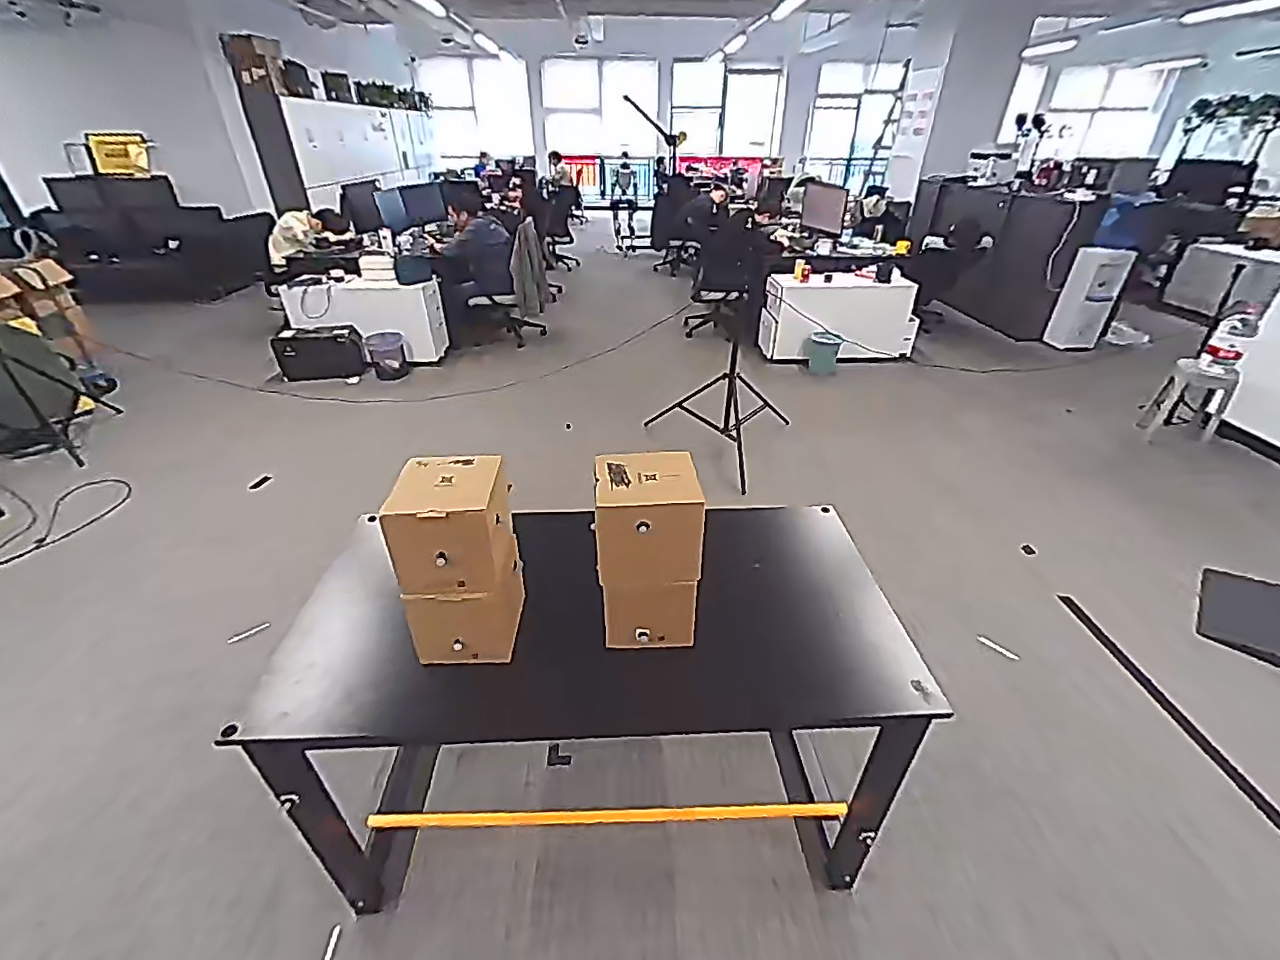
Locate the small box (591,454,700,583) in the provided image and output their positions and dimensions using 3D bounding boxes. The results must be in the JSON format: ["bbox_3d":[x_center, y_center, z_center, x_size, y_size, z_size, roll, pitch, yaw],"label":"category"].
[{"bbox_3d":[0.007,0.069,0.962,0.179,0.176,0.168,-3,32,-4],"label":"small box"}]

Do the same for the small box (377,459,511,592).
[{"bbox_3d":[-0.326,0.081,0.941,0.168,0.176,0.179,-2,33,-3],"label":"small box"}]

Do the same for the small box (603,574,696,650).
[{"bbox_3d":[0.013,0.206,1.052,0.168,0.176,0.179,-3,33,-2],"label":"small box"}]

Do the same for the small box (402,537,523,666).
[{"bbox_3d":[-0.322,0.225,1.021,0.168,0.176,0.179,-1,32,-1],"label":"small box"}]
